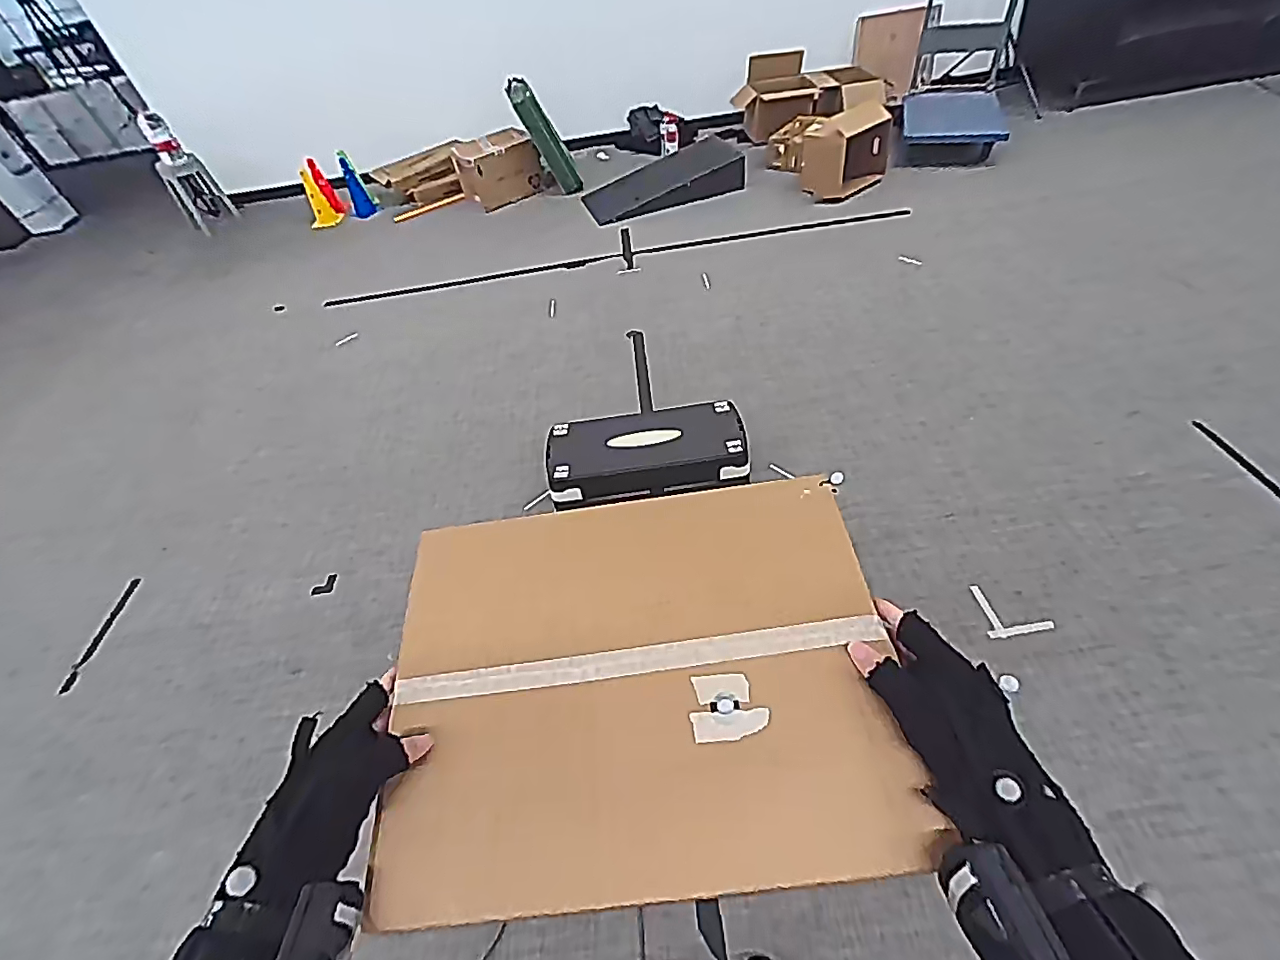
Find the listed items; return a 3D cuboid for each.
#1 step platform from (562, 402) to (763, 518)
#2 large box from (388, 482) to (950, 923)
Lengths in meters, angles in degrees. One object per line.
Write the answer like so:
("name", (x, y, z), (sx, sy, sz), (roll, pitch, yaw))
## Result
("step platform", (0.074, -0.075, 1.876), (0.684, 0.204, 0.286), (-8, 48, 1))
("large box", (0.018, 0.240, 0.578), (0.408, 0.320, 0.320), (-8, 55, 2))
